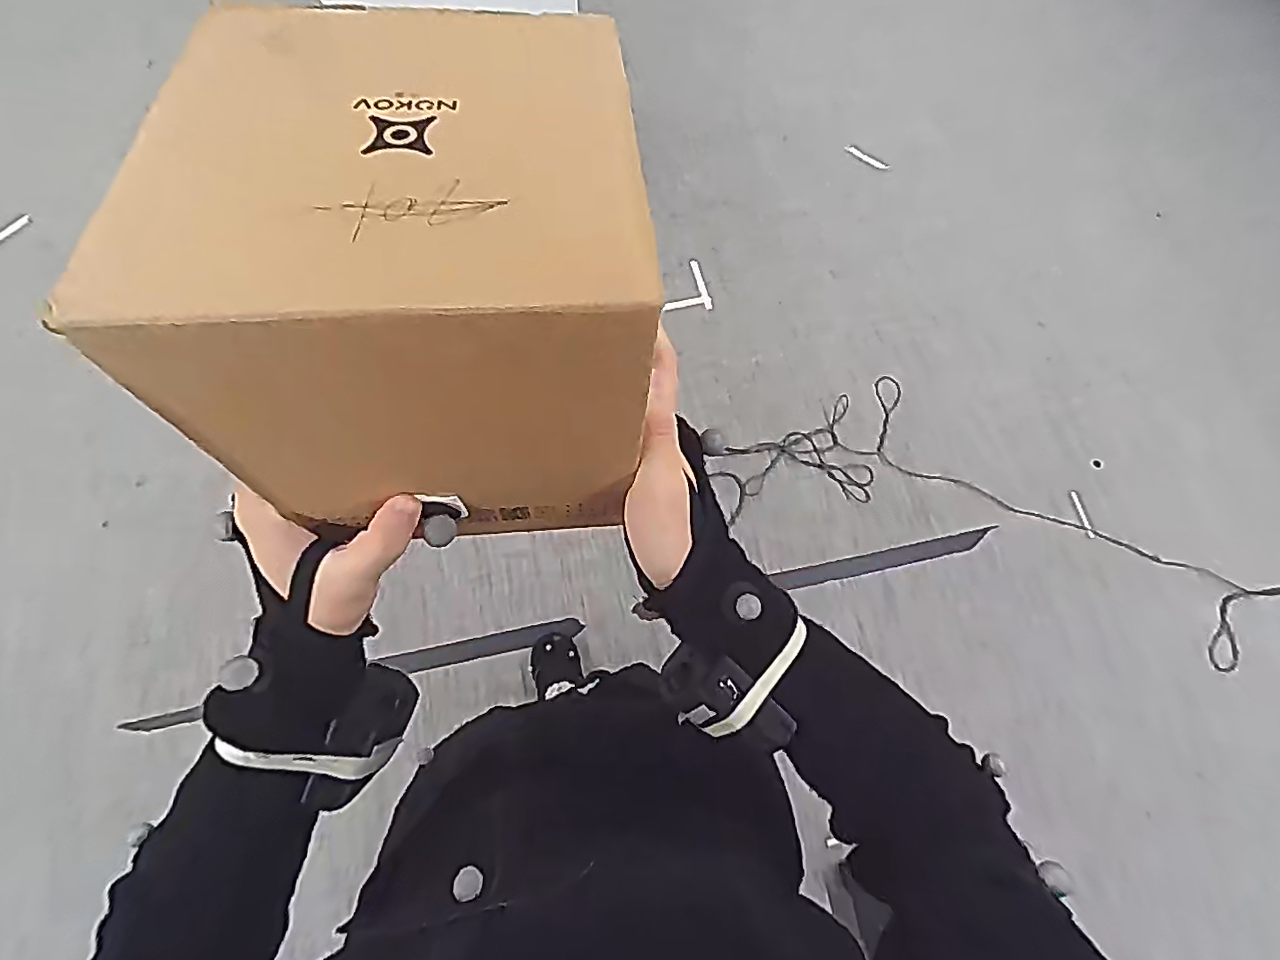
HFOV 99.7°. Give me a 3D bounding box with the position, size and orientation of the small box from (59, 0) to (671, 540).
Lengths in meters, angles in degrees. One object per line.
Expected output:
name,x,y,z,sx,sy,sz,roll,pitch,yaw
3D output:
small box,-0.086,-0.087,0.258,0.168,0.176,0.179,-5,63,-6
